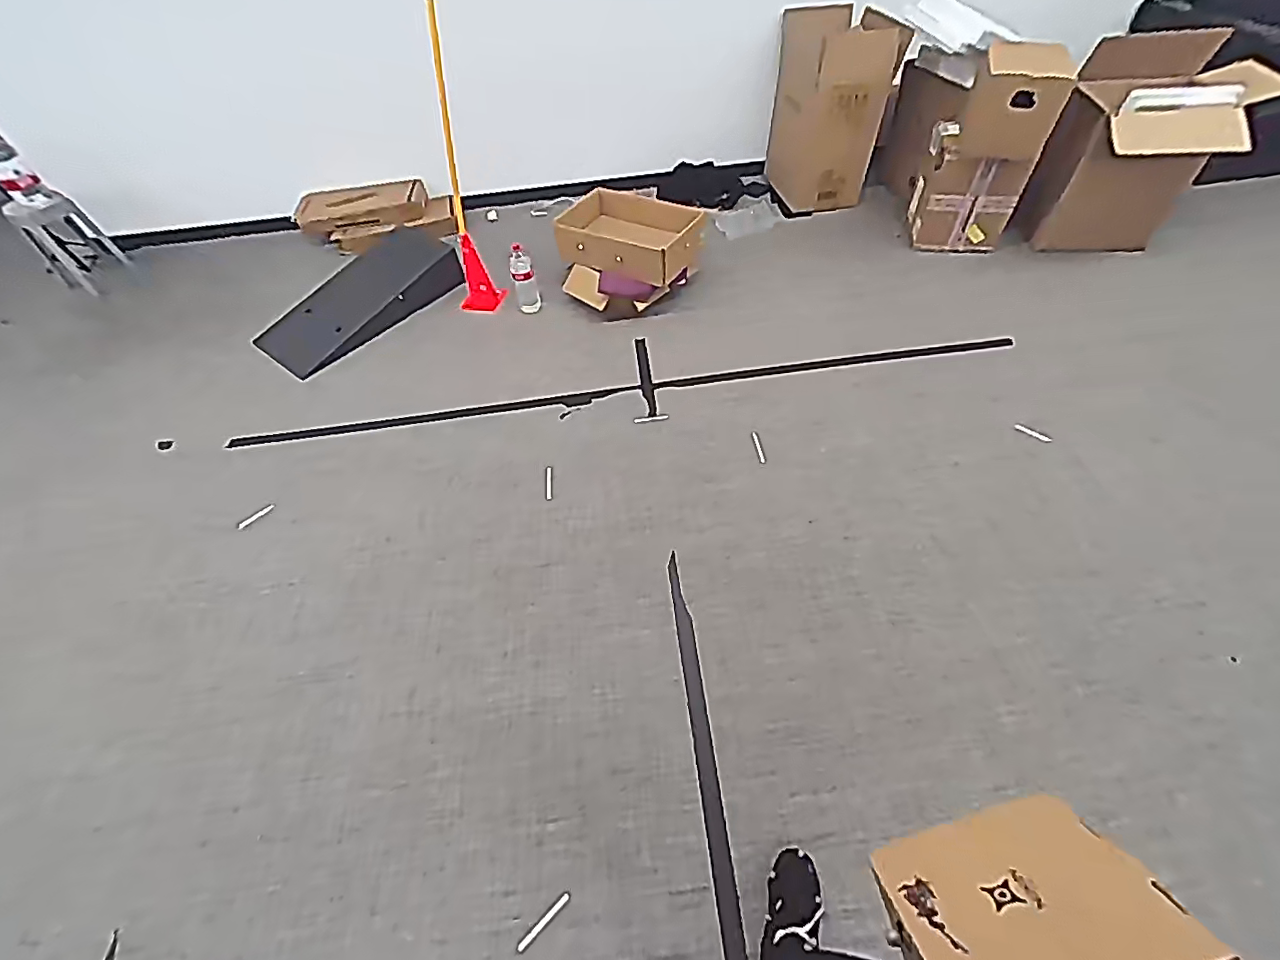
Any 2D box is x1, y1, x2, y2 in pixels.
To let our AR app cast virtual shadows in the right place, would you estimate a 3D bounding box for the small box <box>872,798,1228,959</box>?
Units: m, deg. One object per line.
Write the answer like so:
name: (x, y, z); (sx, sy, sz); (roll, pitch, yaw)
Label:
small box: (0.321, 0.404, 0.428); (0.179, 0.168, 0.176); (-20, 91, 1)
